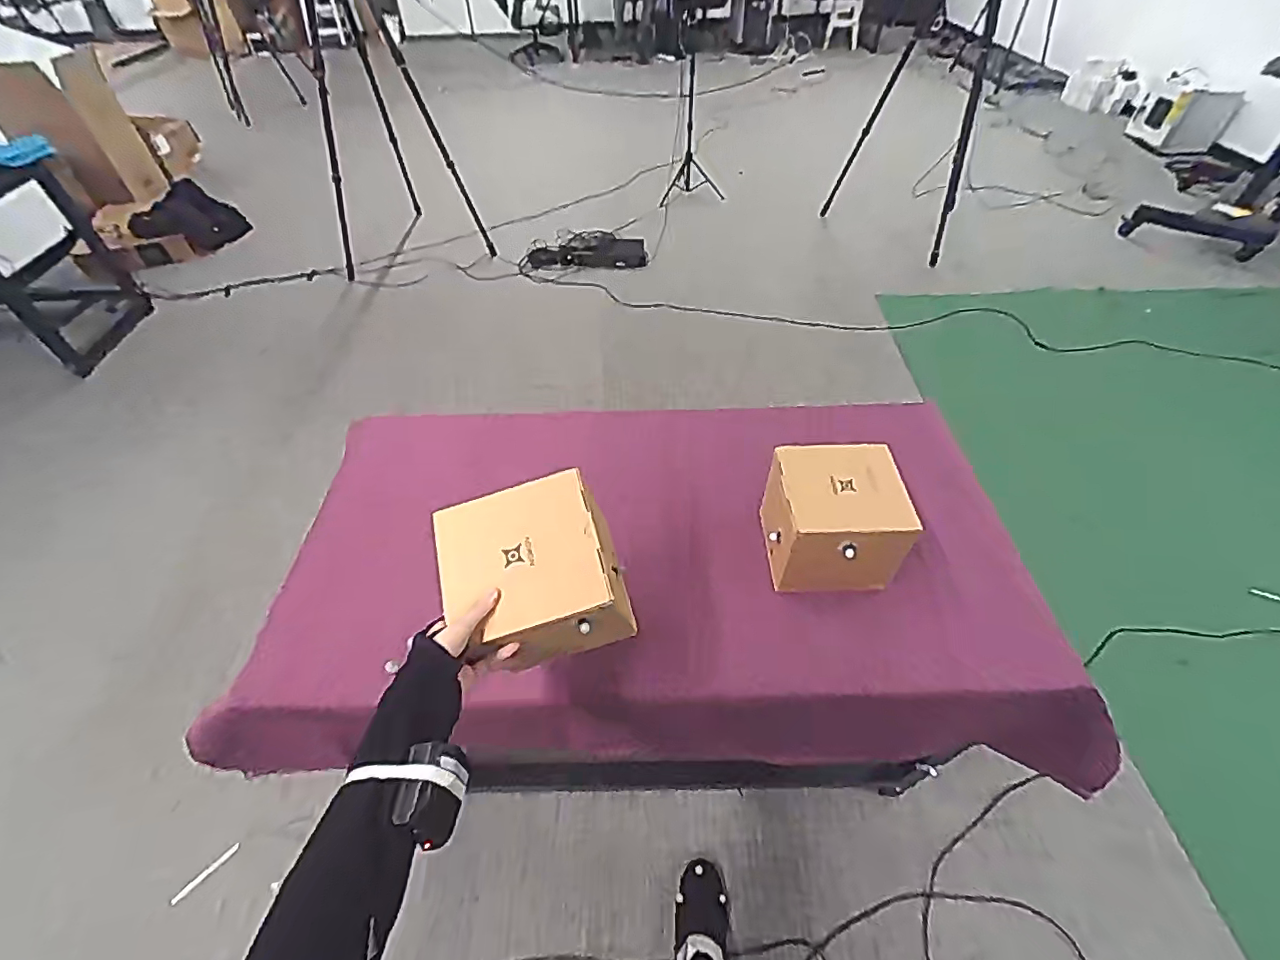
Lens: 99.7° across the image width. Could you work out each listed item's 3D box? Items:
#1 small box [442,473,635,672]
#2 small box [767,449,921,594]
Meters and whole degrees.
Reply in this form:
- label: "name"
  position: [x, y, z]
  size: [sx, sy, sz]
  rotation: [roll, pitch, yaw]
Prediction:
- label: "small box"
  position: [-0.117, 0.121, 0.662]
  size: [0.179, 0.176, 0.168]
  rotation: [-17, 62, -2]
- label: "small box"
  position: [0.301, 0.068, 0.847]
  size: [0.179, 0.176, 0.168]
  rotation: [-1, 49, 1]
